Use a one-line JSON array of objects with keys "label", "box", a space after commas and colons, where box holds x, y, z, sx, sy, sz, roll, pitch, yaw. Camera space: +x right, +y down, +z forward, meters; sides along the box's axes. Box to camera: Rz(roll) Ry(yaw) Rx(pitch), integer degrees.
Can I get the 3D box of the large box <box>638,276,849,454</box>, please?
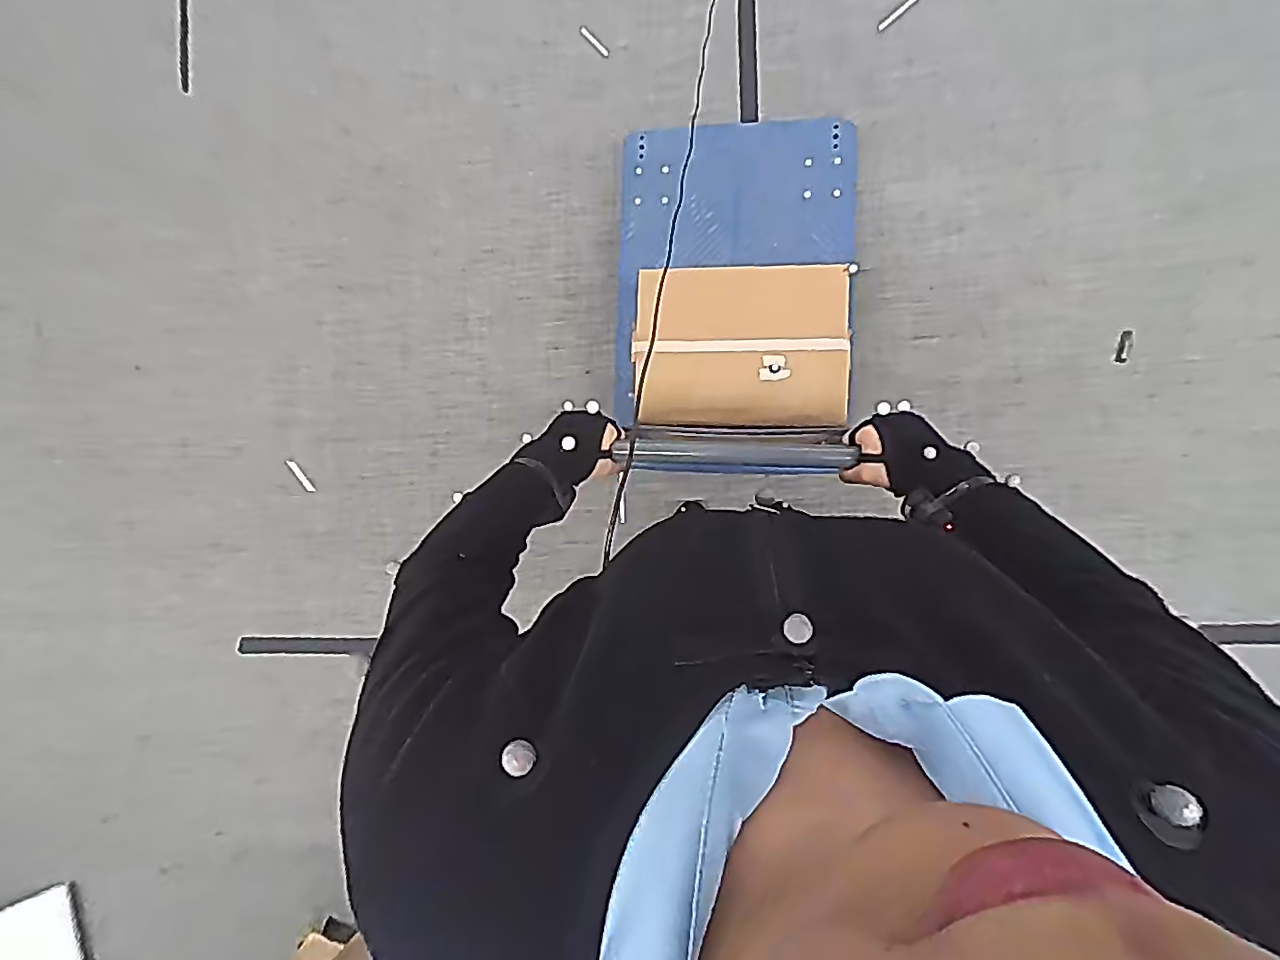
[{"label": "large box", "box": [0.210, -0.226, 1.181, 0.408, 0.320, 0.320, 1, 88, 7]}]
